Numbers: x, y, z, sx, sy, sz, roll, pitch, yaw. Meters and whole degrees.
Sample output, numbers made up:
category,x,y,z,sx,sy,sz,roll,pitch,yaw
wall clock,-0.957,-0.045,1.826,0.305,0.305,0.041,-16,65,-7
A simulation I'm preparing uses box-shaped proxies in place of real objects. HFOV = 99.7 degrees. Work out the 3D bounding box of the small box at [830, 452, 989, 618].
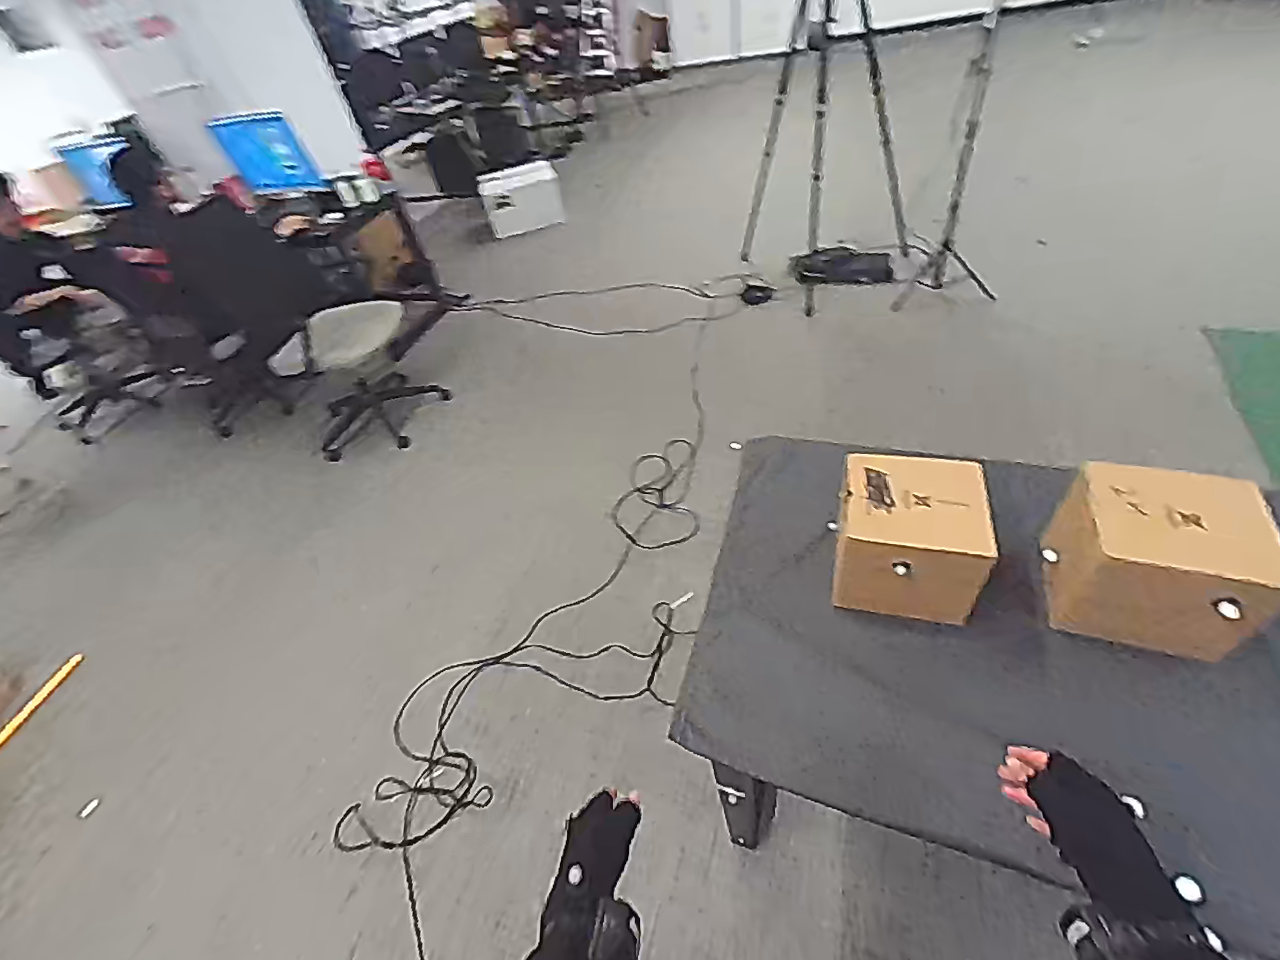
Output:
category,x,y,z,sx,sy,sz,roll,pitch,yaw
small box,0.376,0.080,0.785,0.179,0.176,0.168,6,48,18

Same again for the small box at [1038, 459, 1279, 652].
category,x,y,z,sx,sy,sz,roll,pitch,yaw
small box,0.651,0.099,0.699,0.179,0.176,0.168,9,49,23
